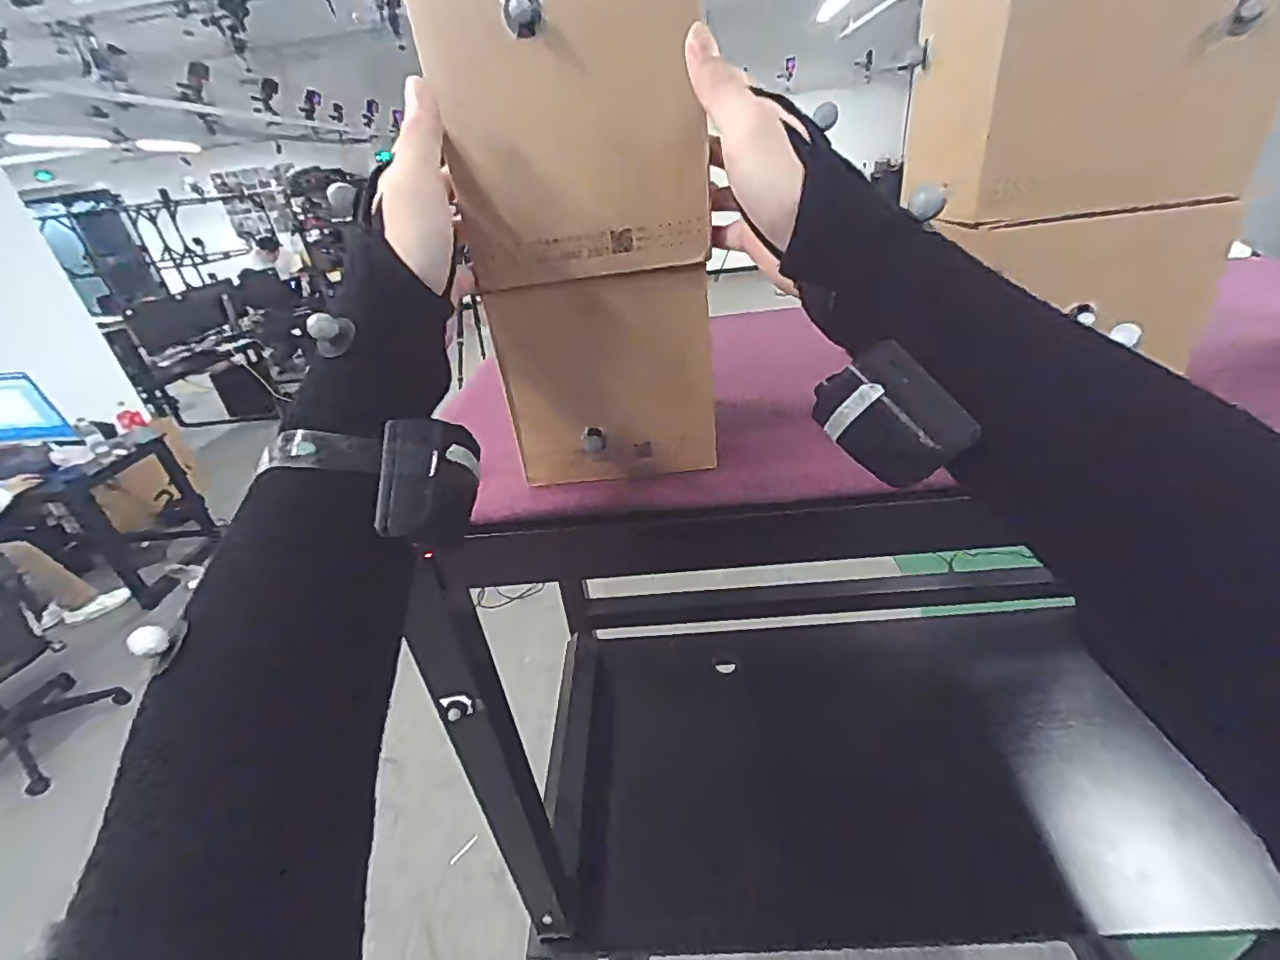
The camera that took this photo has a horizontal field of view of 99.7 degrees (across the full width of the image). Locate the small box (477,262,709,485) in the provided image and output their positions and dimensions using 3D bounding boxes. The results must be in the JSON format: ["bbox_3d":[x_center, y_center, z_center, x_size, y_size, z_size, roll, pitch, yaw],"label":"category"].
[{"bbox_3d":[-0.030,-0.111,0.497,0.168,0.176,0.179,-6,29,3],"label":"small box"}]

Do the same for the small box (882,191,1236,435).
[{"bbox_3d":[0.337,-0.152,0.484,0.179,0.176,0.168,-5,28,6],"label":"small box"}]

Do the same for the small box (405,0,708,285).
[{"bbox_3d":[-0.043,-0.251,0.405,0.168,0.176,0.179,-7,29,4],"label":"small box"}]
